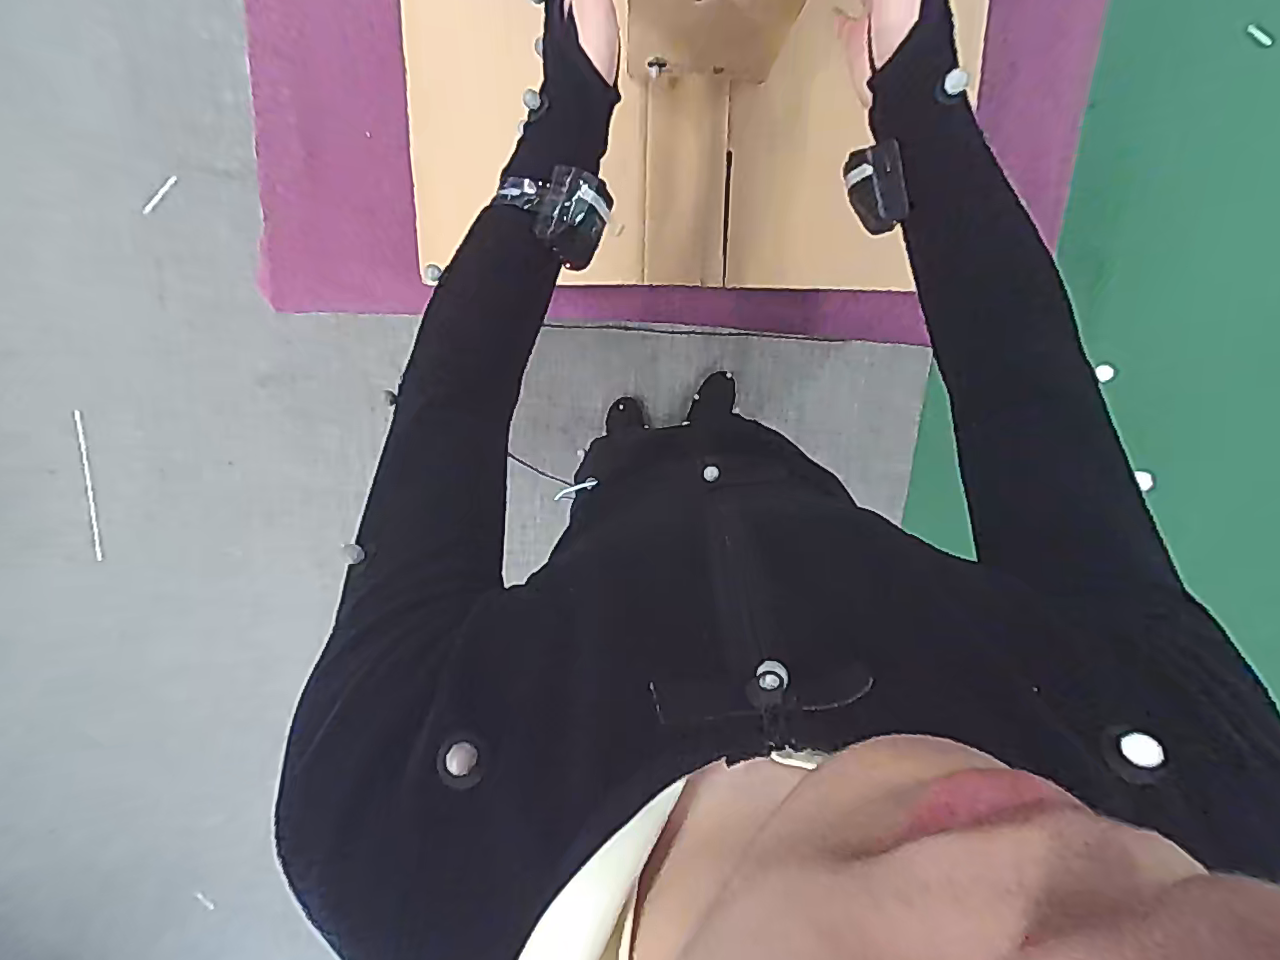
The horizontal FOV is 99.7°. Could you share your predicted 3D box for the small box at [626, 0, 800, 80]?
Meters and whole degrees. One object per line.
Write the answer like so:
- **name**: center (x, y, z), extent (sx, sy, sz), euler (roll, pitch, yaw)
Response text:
- **small box**: center (0.071, -0.527, 0.527), extent (0.168, 0.176, 0.179), euler (1, 101, -2)
